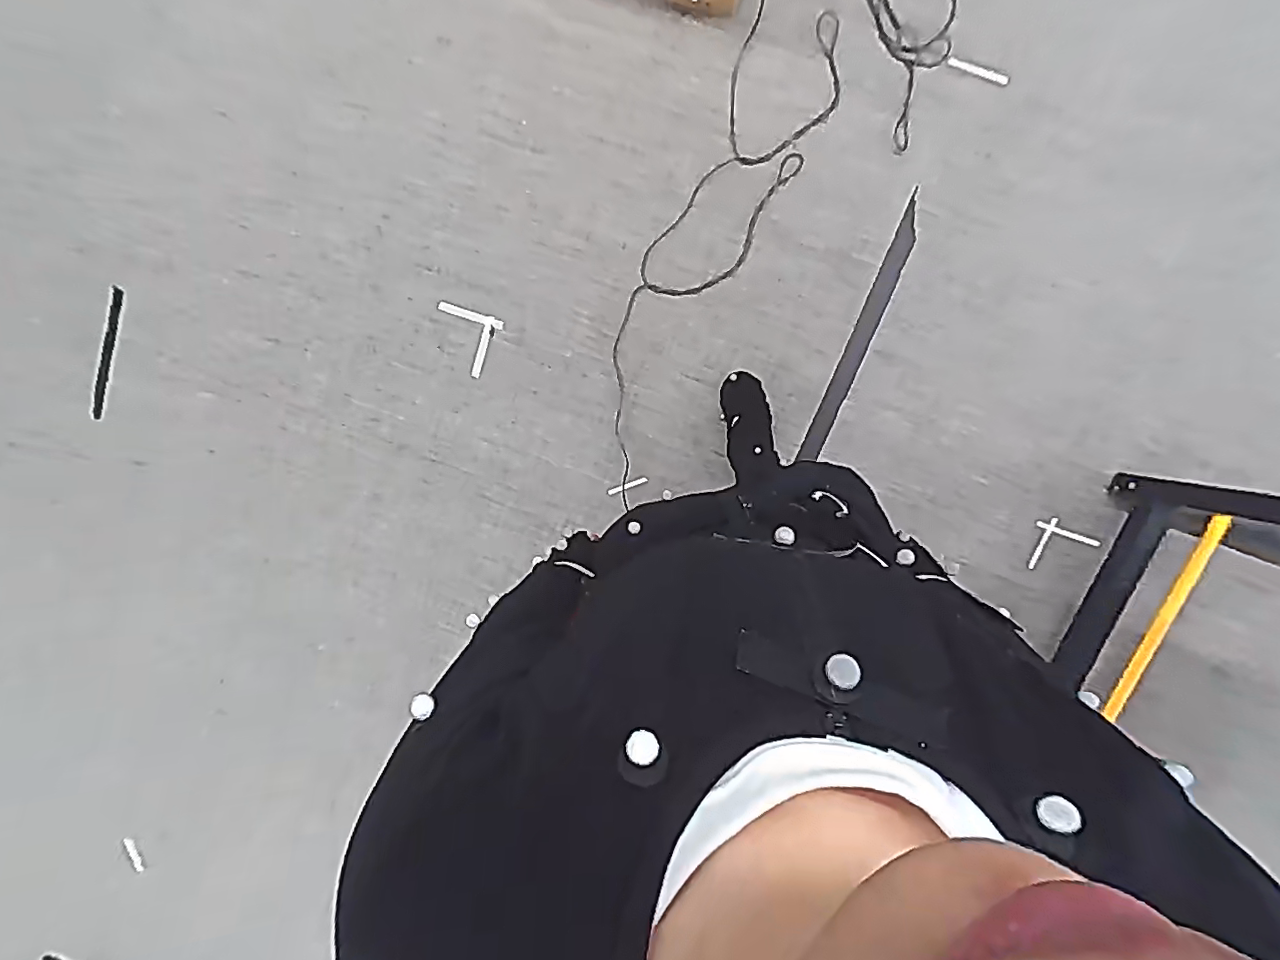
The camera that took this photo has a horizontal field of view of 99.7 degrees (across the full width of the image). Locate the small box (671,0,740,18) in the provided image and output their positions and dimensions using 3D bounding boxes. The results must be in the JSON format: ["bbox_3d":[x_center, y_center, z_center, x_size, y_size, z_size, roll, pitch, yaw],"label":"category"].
[{"bbox_3d":[0.151,-1.130,1.126,0.168,0.176,0.179,17,99,4],"label":"small box"}]
